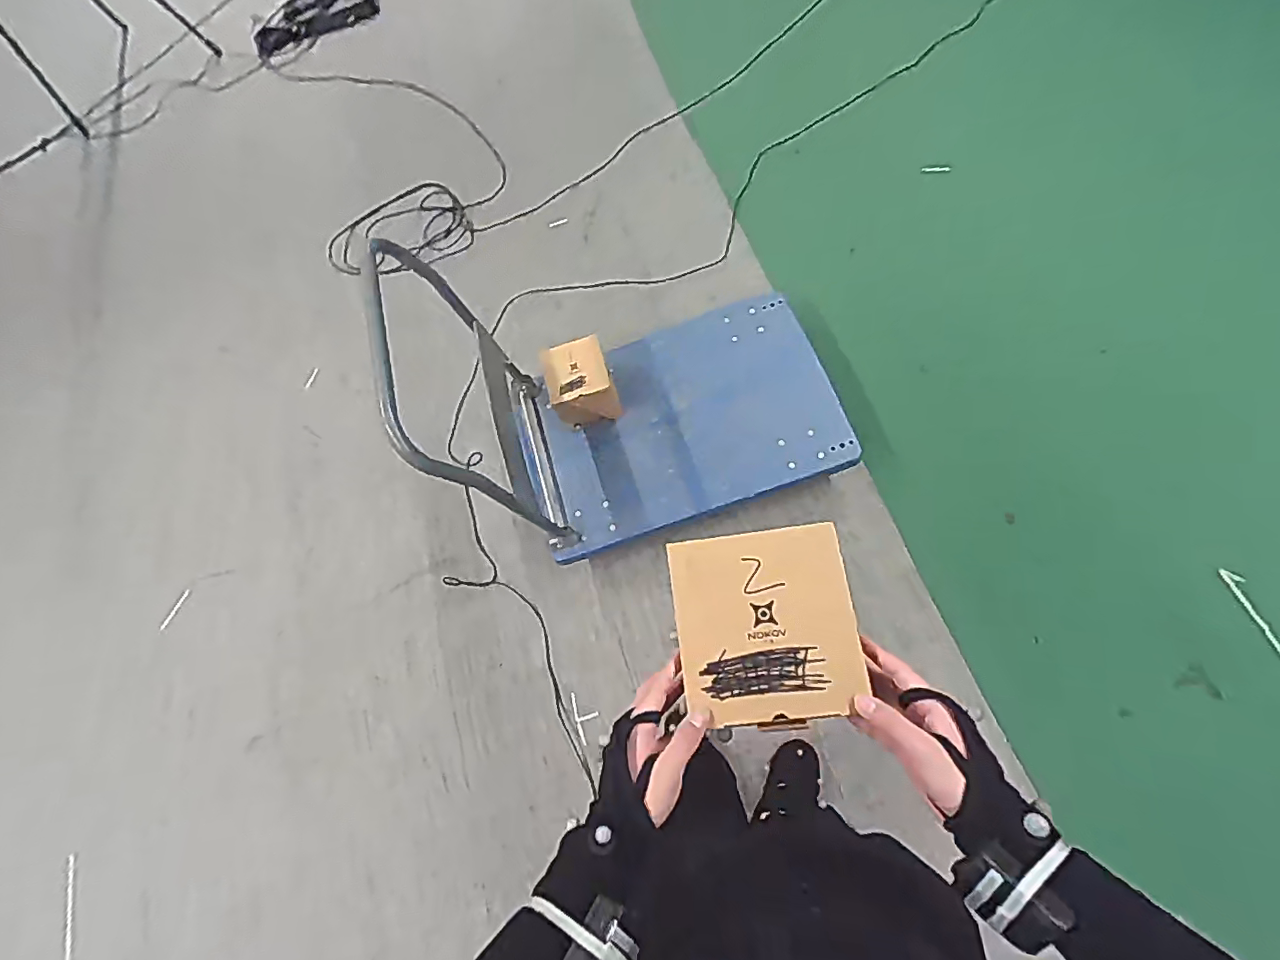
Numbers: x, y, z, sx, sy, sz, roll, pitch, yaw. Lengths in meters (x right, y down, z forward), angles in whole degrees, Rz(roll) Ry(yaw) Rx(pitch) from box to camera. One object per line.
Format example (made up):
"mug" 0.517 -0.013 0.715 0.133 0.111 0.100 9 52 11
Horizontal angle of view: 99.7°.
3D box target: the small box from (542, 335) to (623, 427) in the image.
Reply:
"small box" -0.155 -0.263 1.496 0.168 0.176 0.179 -17 68 3
